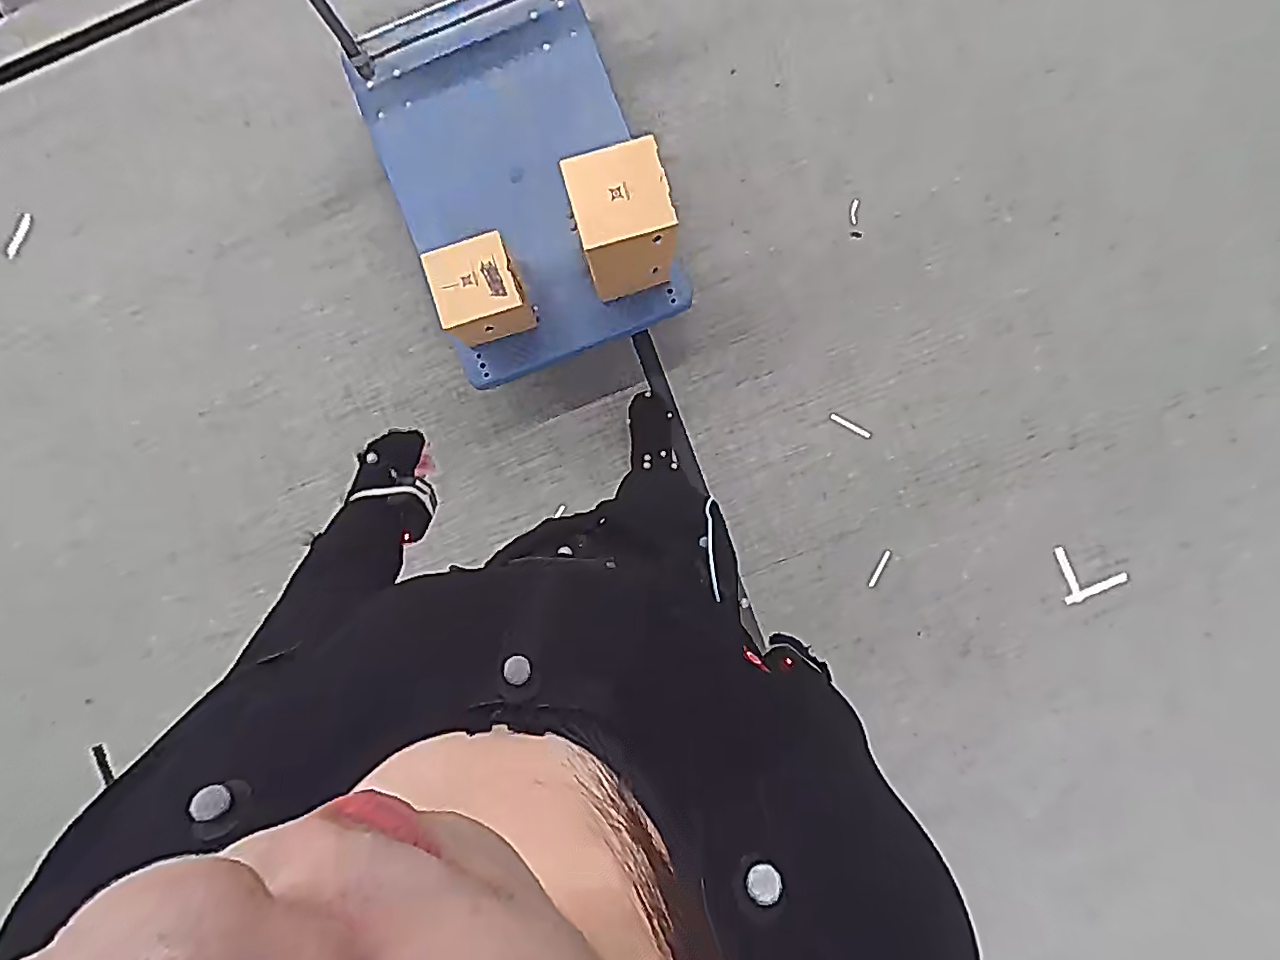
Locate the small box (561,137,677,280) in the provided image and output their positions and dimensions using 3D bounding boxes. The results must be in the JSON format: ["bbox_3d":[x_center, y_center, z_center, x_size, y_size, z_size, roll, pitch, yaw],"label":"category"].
[{"bbox_3d":[-0.035,-0.505,1.033,0.179,0.176,0.168,-16,91,0],"label":"small box"}]

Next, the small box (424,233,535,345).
[{"bbox_3d":[-0.345,-0.416,1.204,0.179,0.176,0.168,-17,91,2],"label":"small box"}]
